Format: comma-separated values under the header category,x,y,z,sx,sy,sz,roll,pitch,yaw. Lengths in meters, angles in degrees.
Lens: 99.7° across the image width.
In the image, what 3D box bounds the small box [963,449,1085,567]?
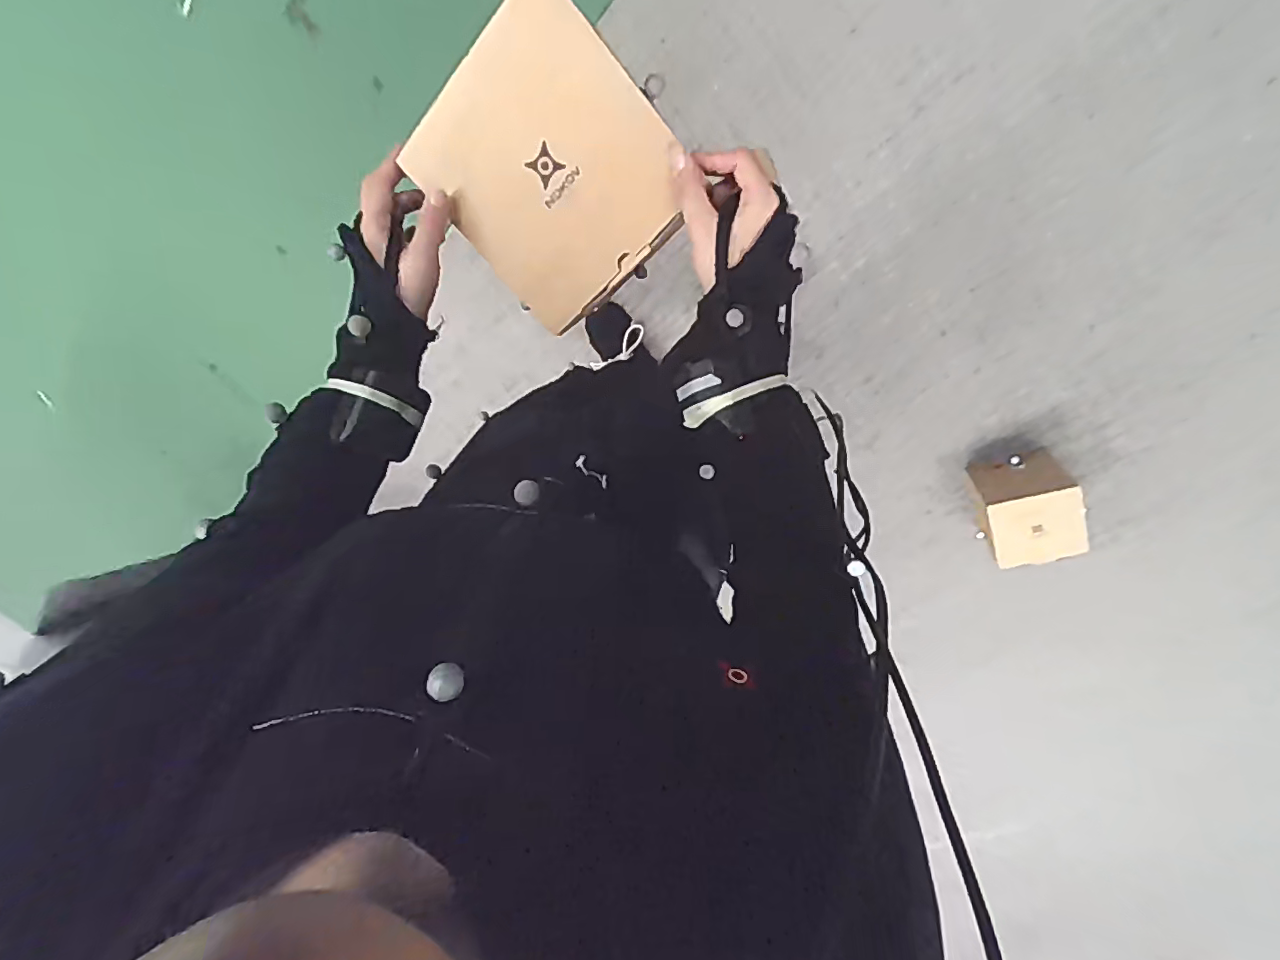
category,x,y,z,sx,sy,sz,roll,pitch,yaw
small box,0.832,0.059,1.182,0.168,0.176,0.179,-17,113,22
